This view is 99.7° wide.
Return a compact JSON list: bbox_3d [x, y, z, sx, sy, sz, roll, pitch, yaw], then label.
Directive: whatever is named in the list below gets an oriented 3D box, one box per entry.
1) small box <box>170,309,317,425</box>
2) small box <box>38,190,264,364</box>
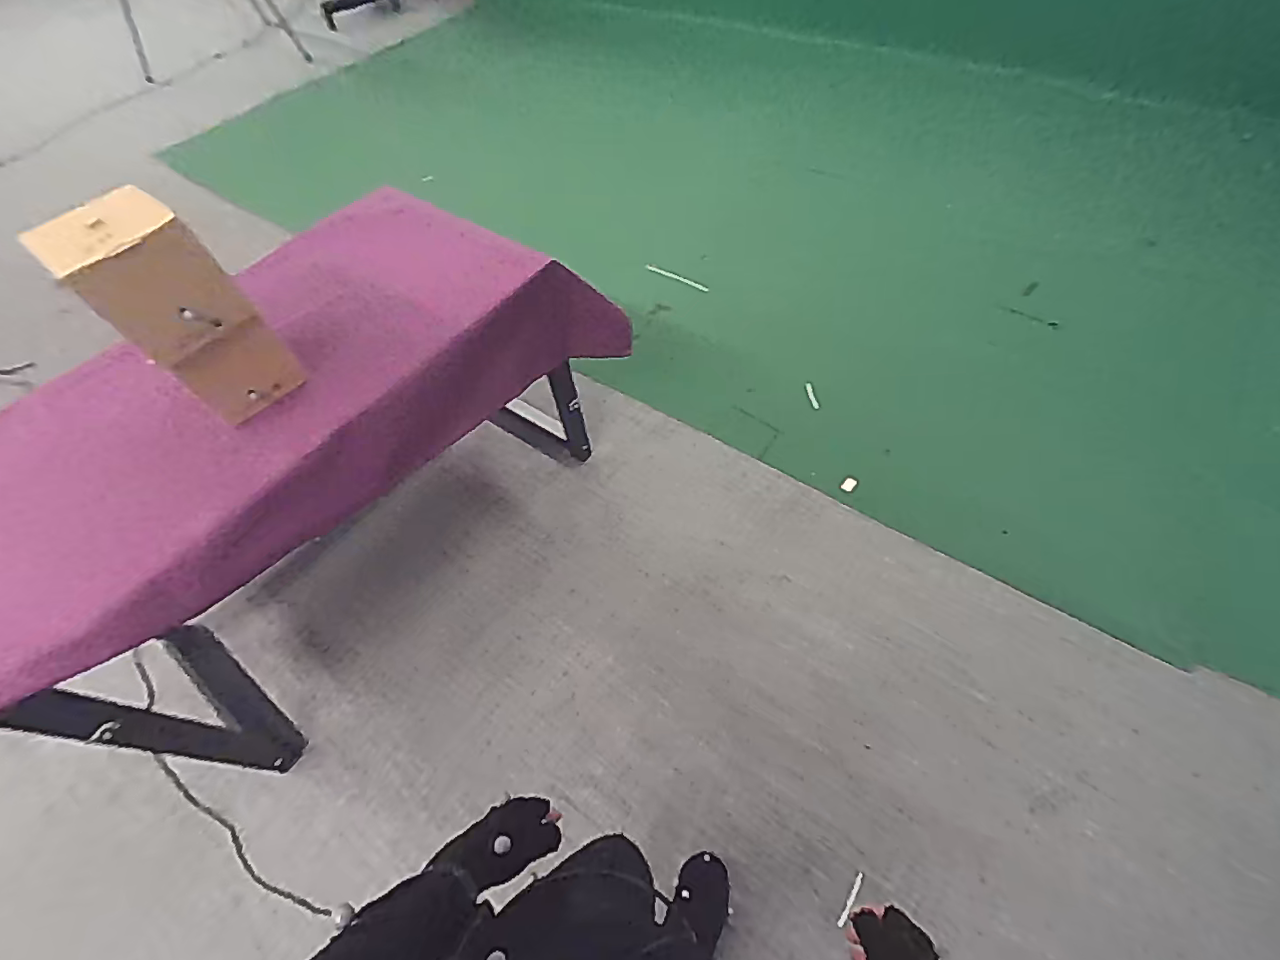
[{"bbox_3d":[-0.743,-0.232,0.986,0.179,0.176,0.168,35,66,24],"label":"small box"},{"bbox_3d":[-0.746,-0.311,0.842,0.179,0.176,0.168,33,66,23],"label":"small box"}]
